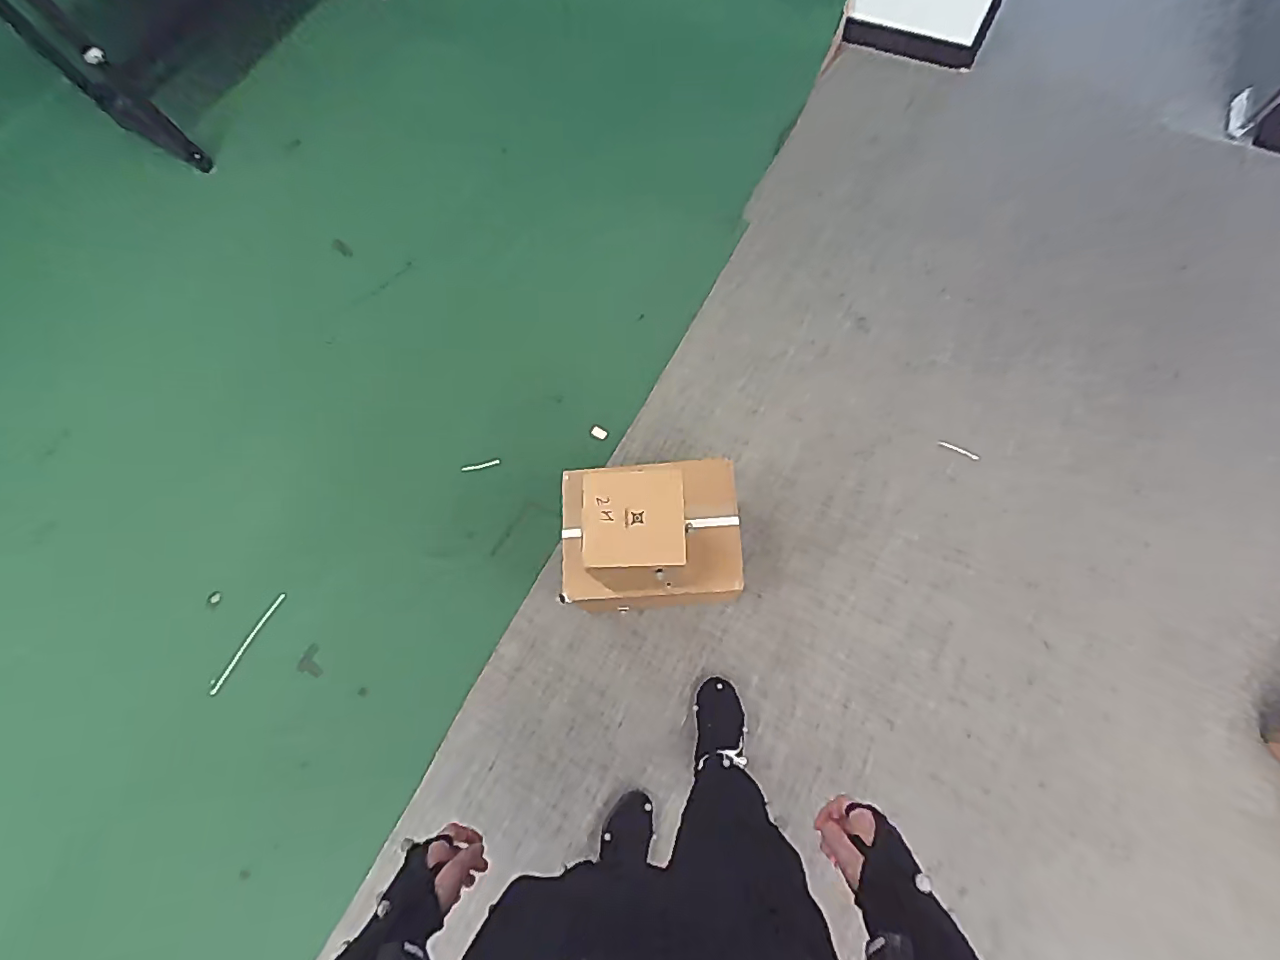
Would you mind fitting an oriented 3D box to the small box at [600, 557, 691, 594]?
[{"bbox_3d":[0.012,0.144,1.126,0.179,0.176,0.168,-4,72,4],"label":"small box"}]

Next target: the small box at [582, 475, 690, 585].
[{"bbox_3d":[-0.003,0.095,0.970,0.179,0.176,0.168,-2,71,5],"label":"small box"}]
